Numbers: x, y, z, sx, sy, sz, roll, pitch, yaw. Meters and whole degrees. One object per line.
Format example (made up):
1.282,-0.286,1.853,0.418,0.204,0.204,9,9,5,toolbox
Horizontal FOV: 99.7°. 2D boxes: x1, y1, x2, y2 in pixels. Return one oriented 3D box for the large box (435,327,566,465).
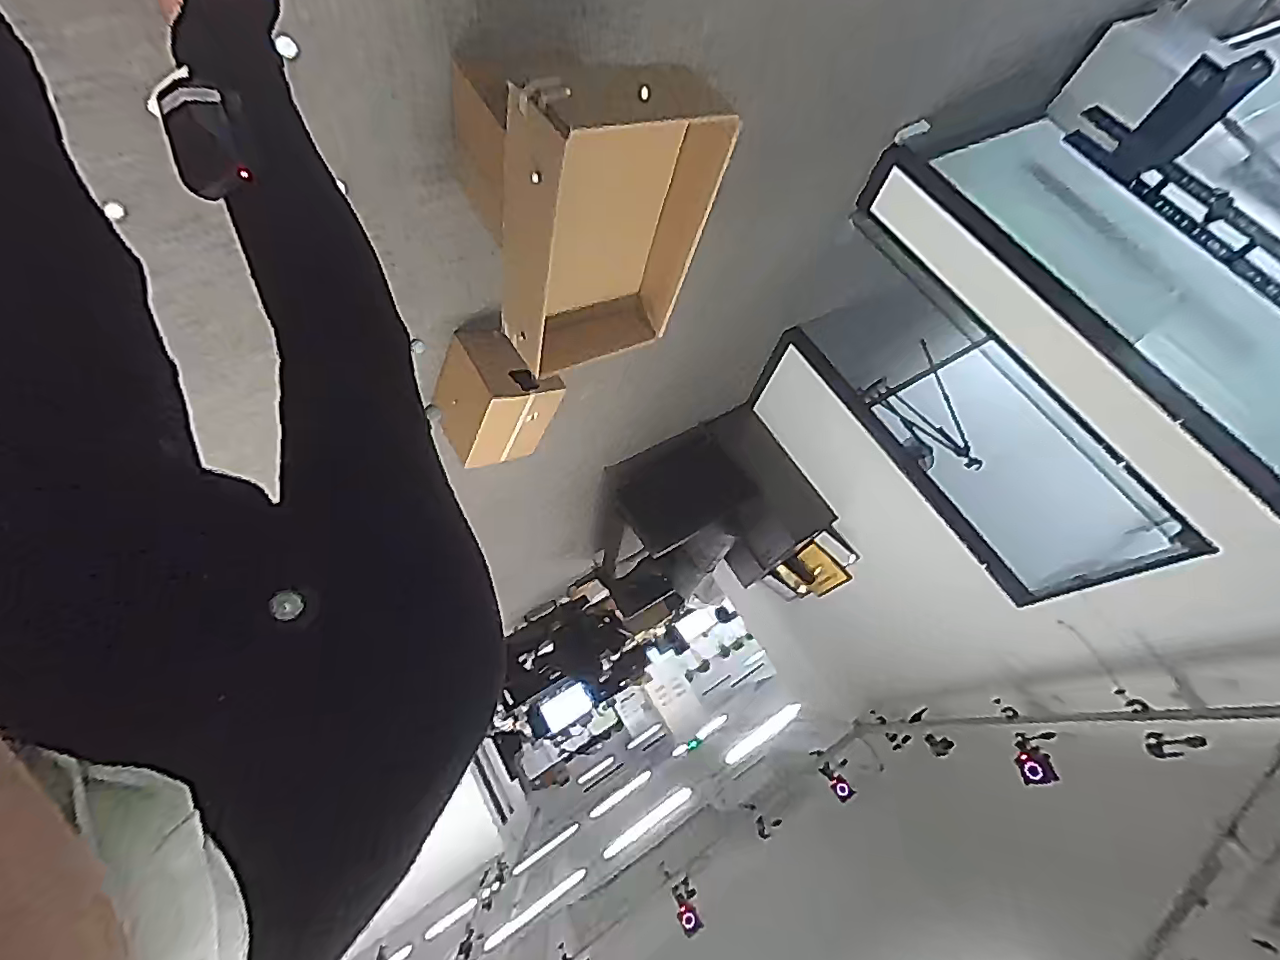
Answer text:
-0.542,-0.318,2.046,0.320,0.320,0.408,-18,156,-42,large box
